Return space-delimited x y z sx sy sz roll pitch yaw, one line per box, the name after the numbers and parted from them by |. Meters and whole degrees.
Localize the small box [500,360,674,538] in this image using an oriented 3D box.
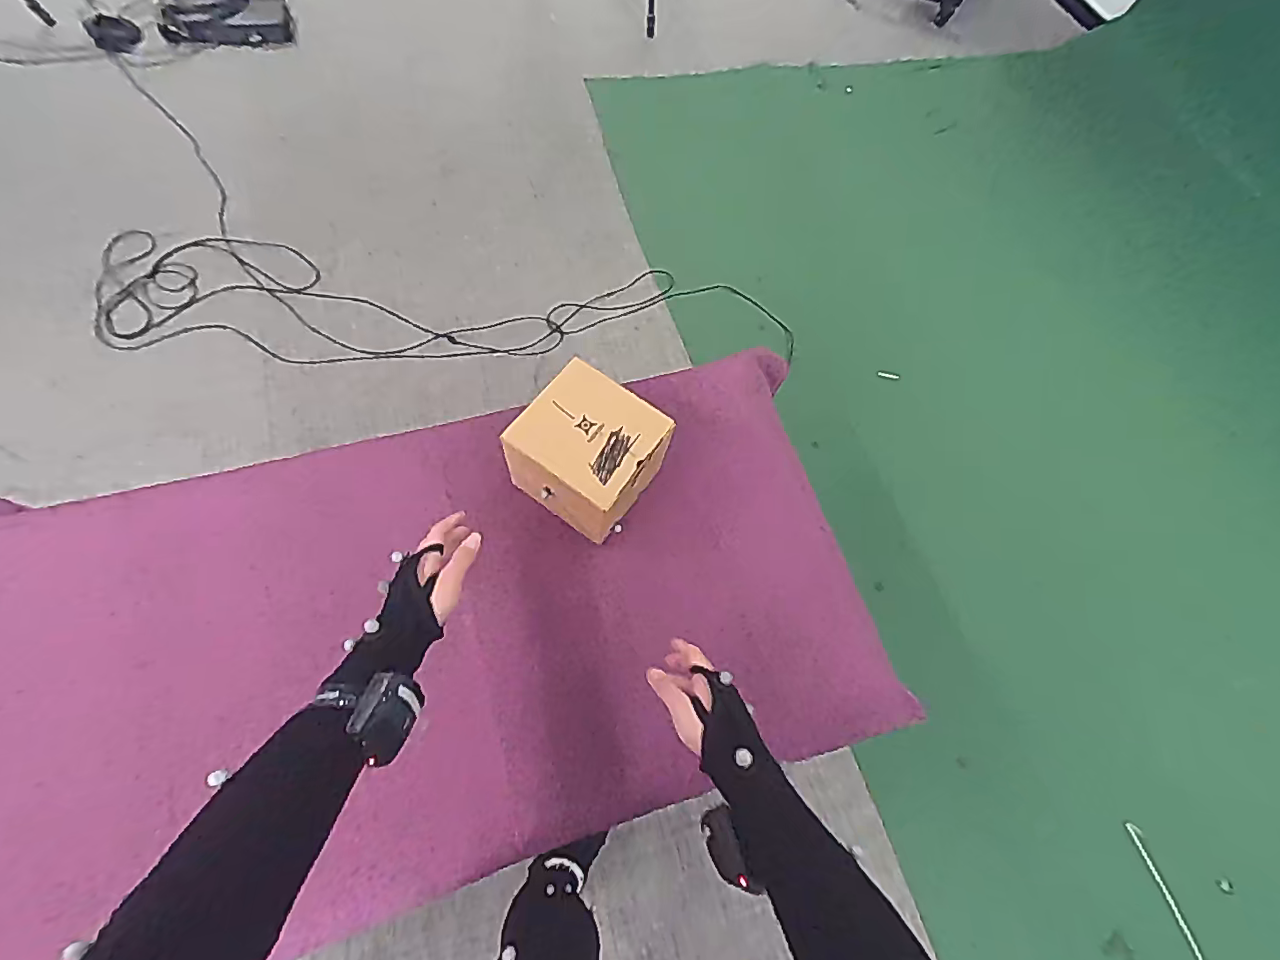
-0.076 -0.033 0.792 0.179 0.176 0.168 35 67 8 | small box
